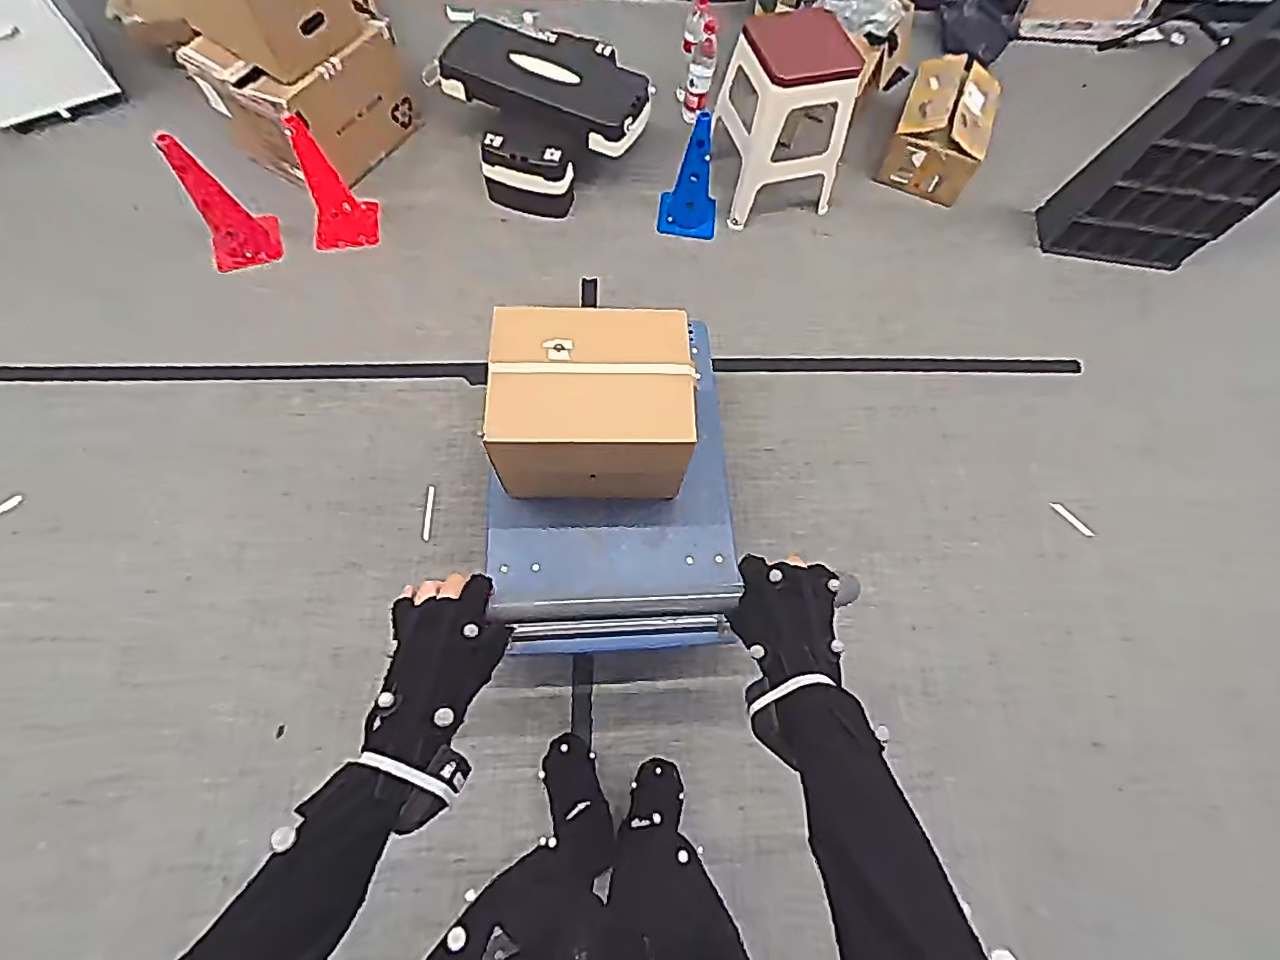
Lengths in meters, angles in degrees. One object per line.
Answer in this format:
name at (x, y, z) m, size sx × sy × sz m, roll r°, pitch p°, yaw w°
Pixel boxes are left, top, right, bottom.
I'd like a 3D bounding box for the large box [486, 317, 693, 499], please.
large box at (-0.105, -0.148, 1.228) m, size 0.408 × 0.320 × 0.320 m, roll 0°, pitch 68°, yaw -3°
